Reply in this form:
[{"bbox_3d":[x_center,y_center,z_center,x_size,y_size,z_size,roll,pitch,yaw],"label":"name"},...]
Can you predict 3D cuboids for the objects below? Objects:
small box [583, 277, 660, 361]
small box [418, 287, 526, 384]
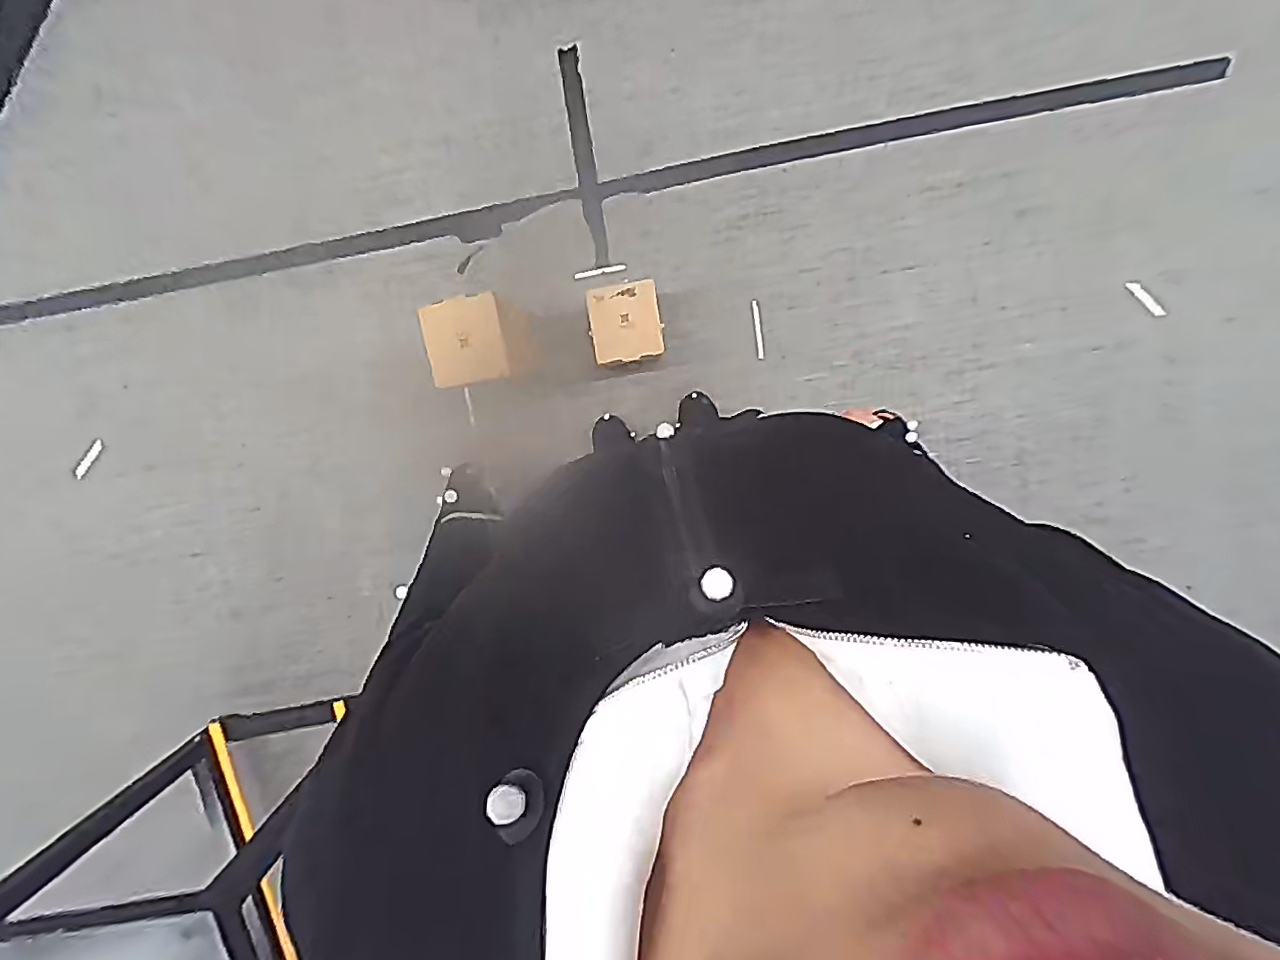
[{"bbox_3d":[-0.041,-0.398,1.362,0.168,0.176,0.179,-9,100,2],"label":"small box"},{"bbox_3d":[-0.367,-0.315,1.211,0.168,0.176,0.179,-11,101,4],"label":"small box"}]
